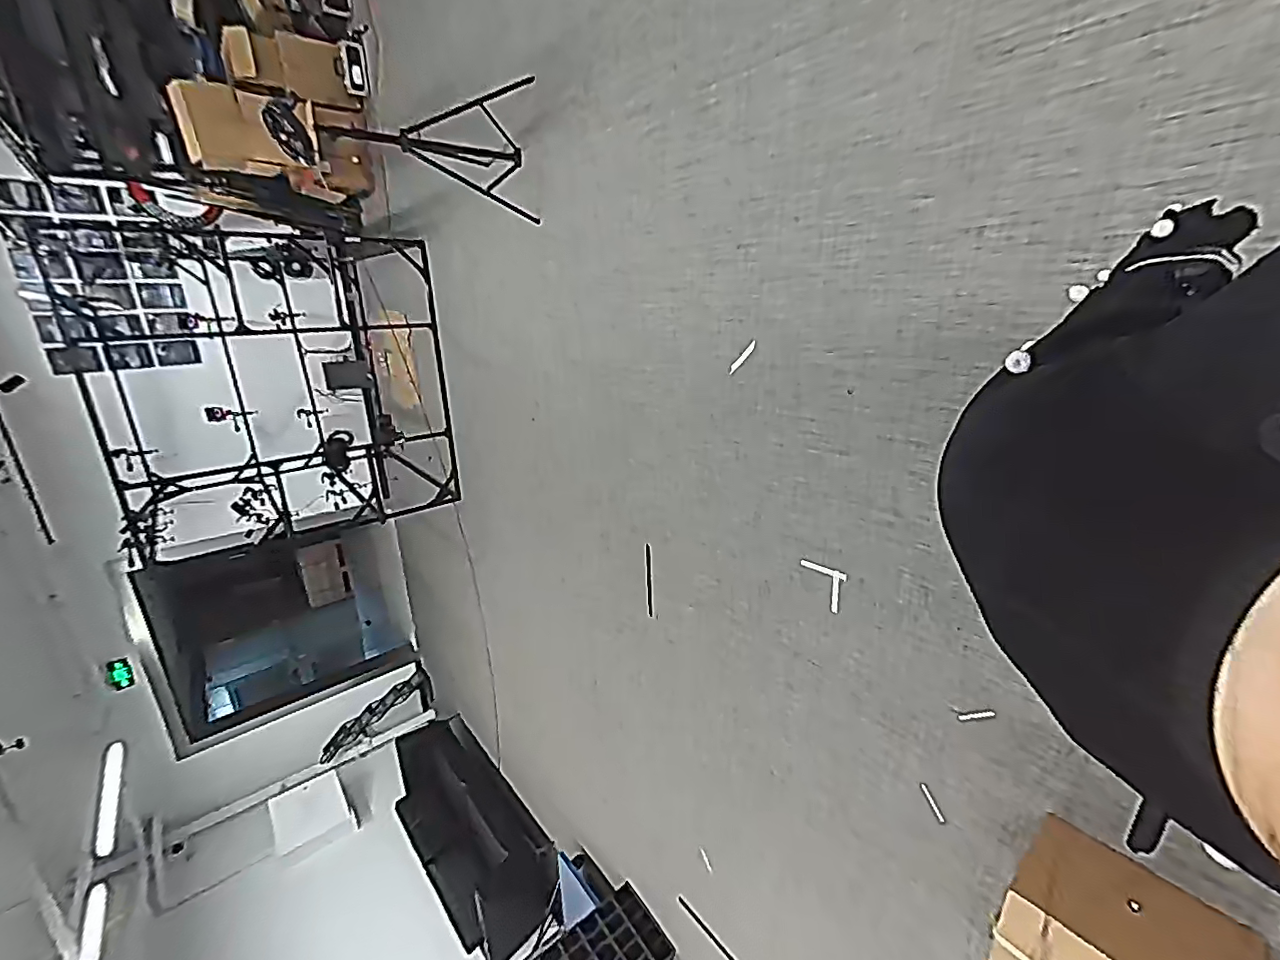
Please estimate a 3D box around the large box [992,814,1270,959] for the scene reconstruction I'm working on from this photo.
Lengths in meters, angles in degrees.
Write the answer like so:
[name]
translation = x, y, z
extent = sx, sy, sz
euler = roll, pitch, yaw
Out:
[large box]
translation = 1.116, 1.104, 1.261
extent = 0.408, 0.320, 0.320
euler = 20, 118, 47
